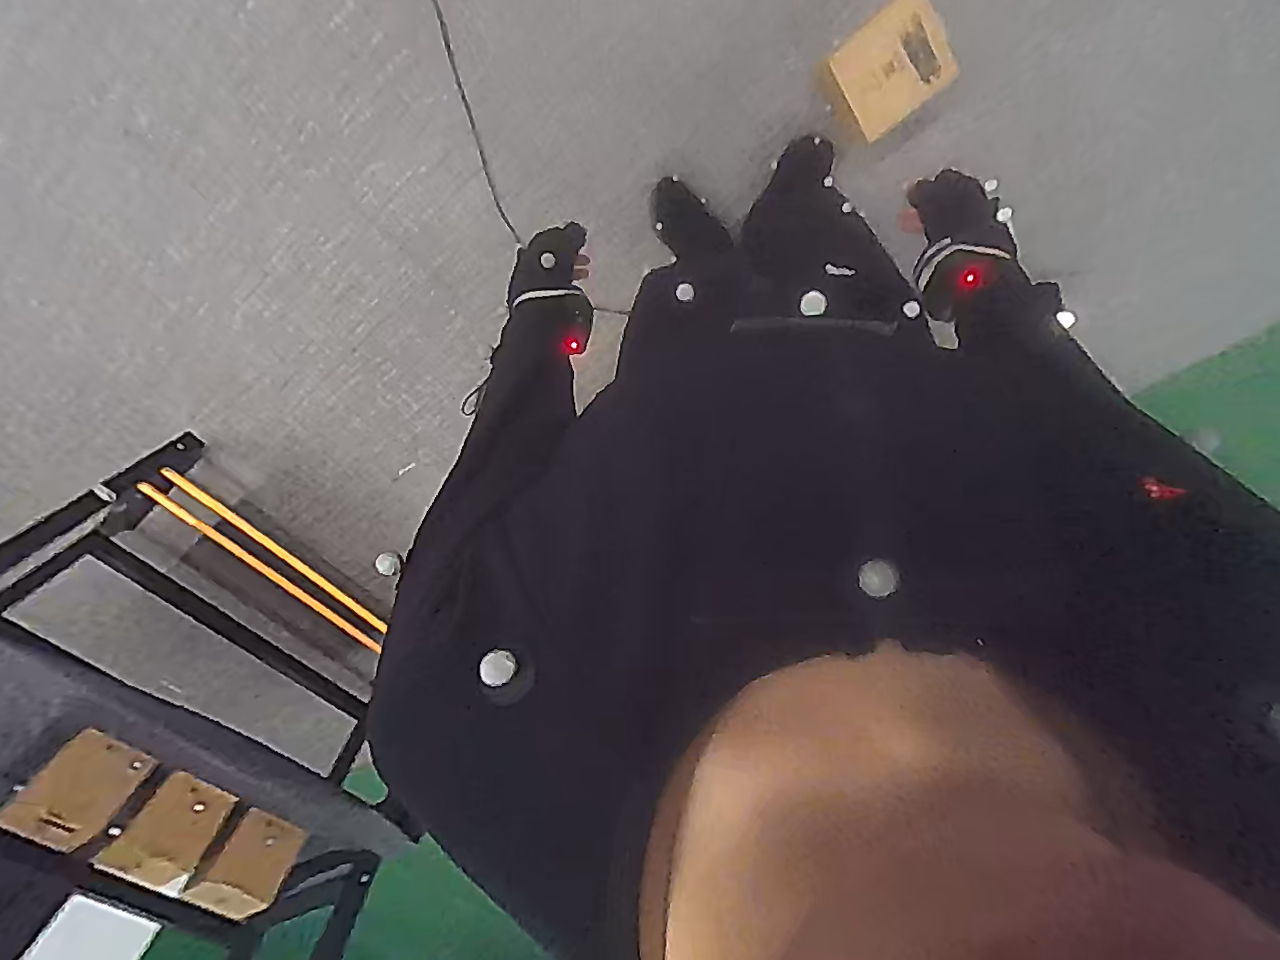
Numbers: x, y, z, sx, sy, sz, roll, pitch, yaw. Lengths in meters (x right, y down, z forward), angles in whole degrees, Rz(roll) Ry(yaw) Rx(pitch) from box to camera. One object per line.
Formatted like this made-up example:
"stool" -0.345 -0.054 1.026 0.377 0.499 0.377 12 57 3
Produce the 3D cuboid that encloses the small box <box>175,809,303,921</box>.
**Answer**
"small box" -1.005 0.974 1.372 0.179 0.176 0.168 -35 114 23
